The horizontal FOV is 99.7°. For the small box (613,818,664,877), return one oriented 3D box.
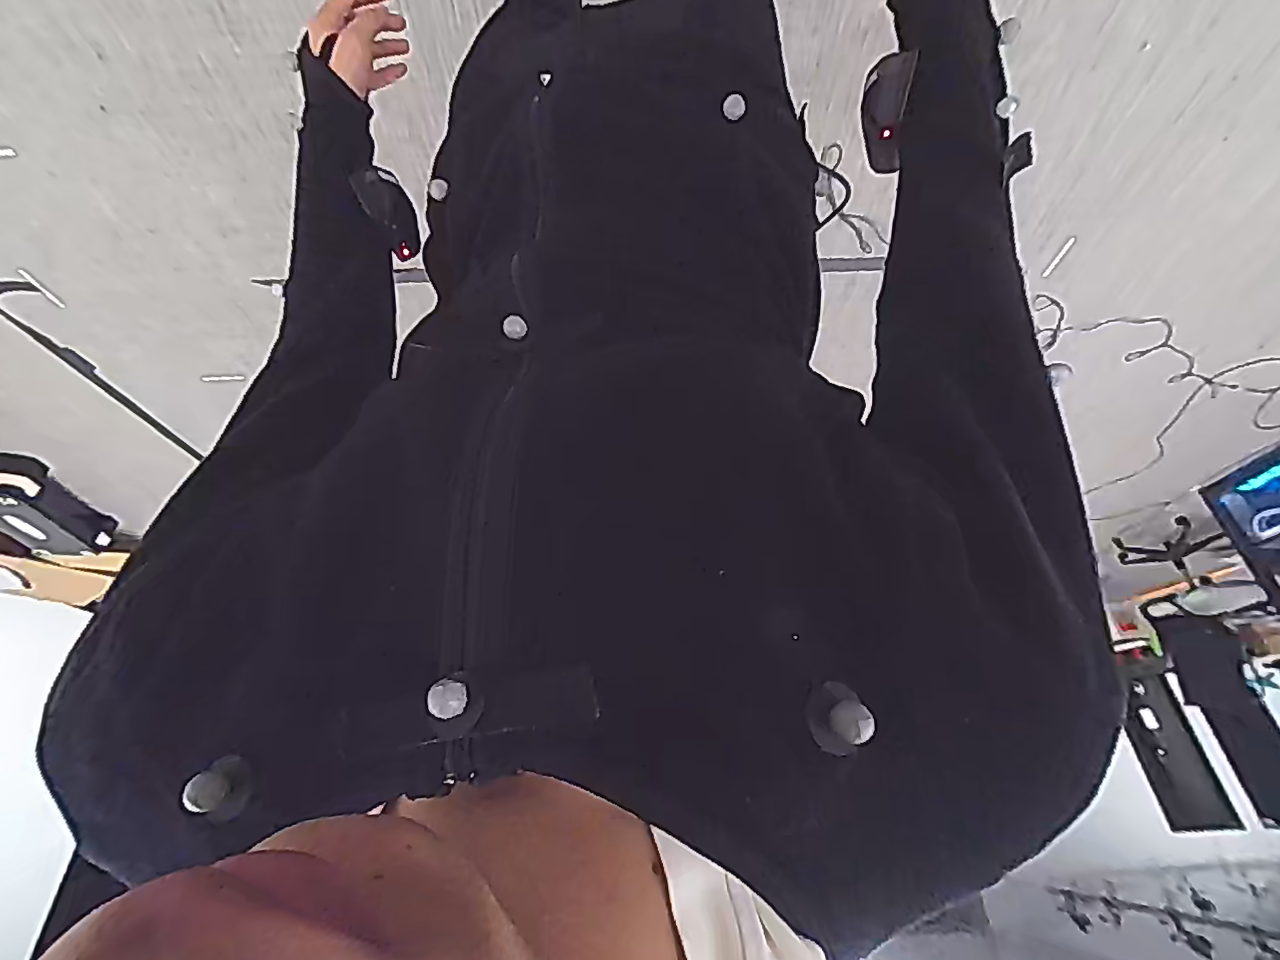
[{"bbox_3d":[-0.009,1.348,1.988,0.179,0.176,0.168,-1,150,-2],"label":"small box"}]
